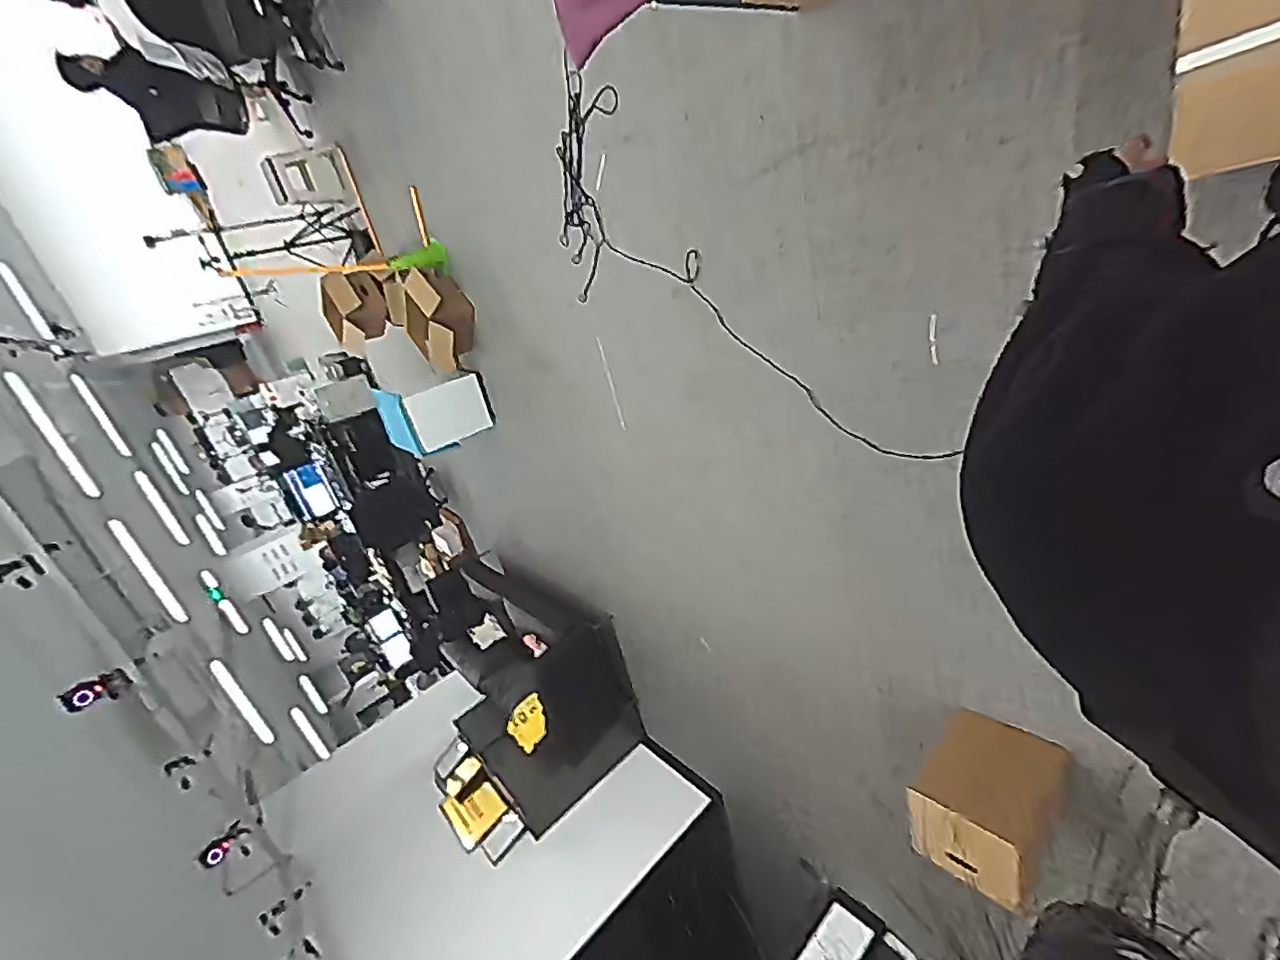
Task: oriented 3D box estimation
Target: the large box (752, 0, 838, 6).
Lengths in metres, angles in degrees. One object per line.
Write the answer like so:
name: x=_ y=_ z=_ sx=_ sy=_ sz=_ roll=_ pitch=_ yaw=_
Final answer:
large box: x=0.393 y=-1.239 z=1.047 sx=0.320 sy=0.320 sz=0.408 roll=14 pitch=127 yaw=49
